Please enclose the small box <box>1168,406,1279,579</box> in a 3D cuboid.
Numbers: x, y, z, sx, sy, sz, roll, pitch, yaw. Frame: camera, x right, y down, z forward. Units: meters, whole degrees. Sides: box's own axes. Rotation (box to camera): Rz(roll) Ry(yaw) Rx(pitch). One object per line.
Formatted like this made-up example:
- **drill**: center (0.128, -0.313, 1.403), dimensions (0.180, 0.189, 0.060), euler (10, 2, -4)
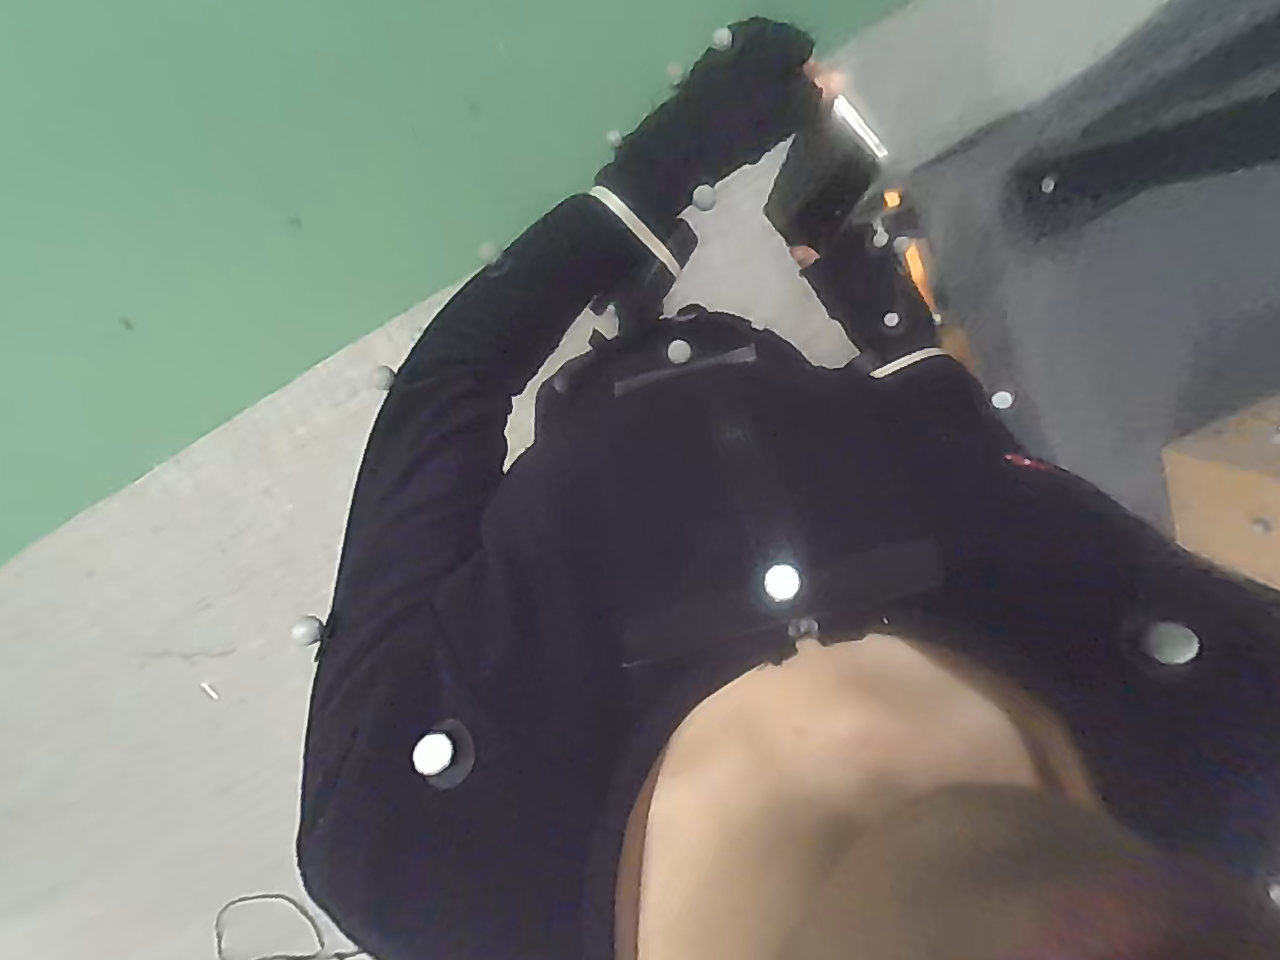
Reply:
- **small box**: center (0.847, 0.015, 0.702), dimensions (0.168, 0.176, 0.179), euler (-26, 108, 6)
